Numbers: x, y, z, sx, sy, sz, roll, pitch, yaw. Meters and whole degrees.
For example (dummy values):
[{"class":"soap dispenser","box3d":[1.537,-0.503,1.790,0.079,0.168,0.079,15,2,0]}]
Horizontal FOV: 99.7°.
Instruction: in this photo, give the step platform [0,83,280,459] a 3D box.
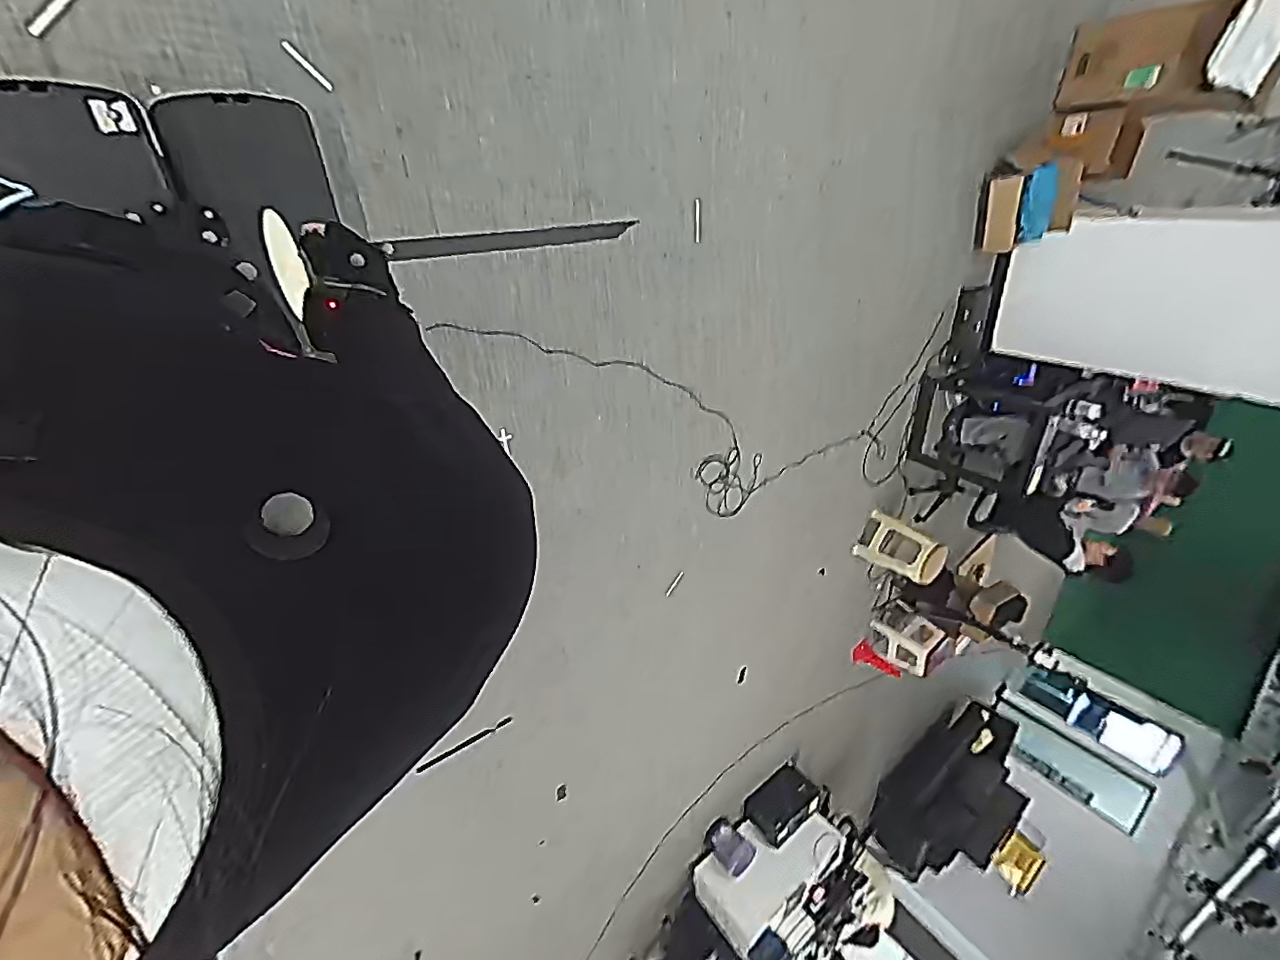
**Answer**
[{"class":"step platform","box3d":[-1.017,-0.387,1.103,0.286,0.204,0.684,-24,124,-30]}]
